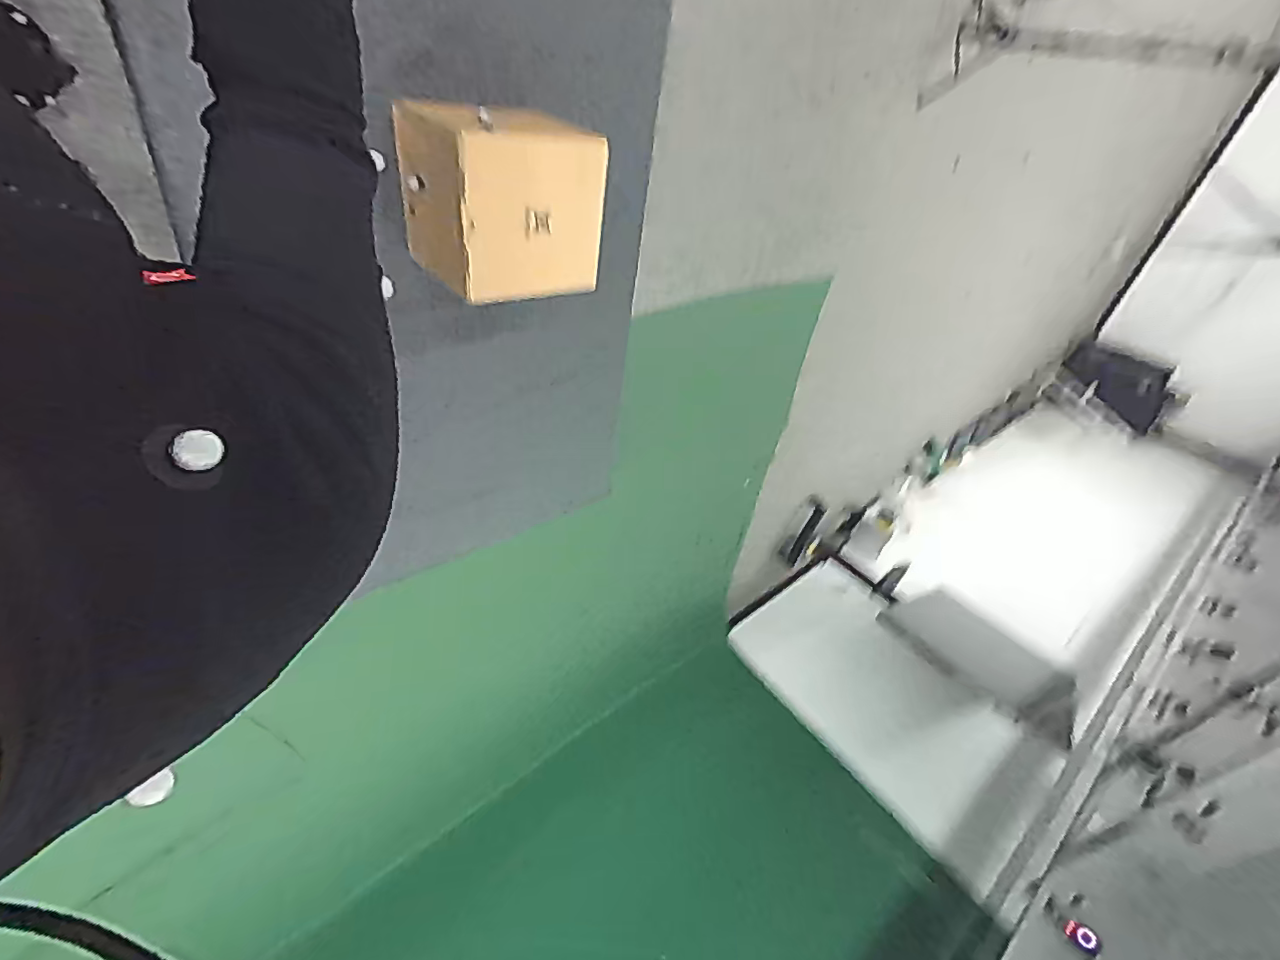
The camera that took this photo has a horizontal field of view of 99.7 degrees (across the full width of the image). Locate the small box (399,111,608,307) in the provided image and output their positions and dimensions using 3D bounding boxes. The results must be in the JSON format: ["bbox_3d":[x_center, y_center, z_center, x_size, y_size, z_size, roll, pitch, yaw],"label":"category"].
[{"bbox_3d":[-0.163,-0.326,0.647,0.179,0.176,0.168,-21,137,-34],"label":"small box"}]
